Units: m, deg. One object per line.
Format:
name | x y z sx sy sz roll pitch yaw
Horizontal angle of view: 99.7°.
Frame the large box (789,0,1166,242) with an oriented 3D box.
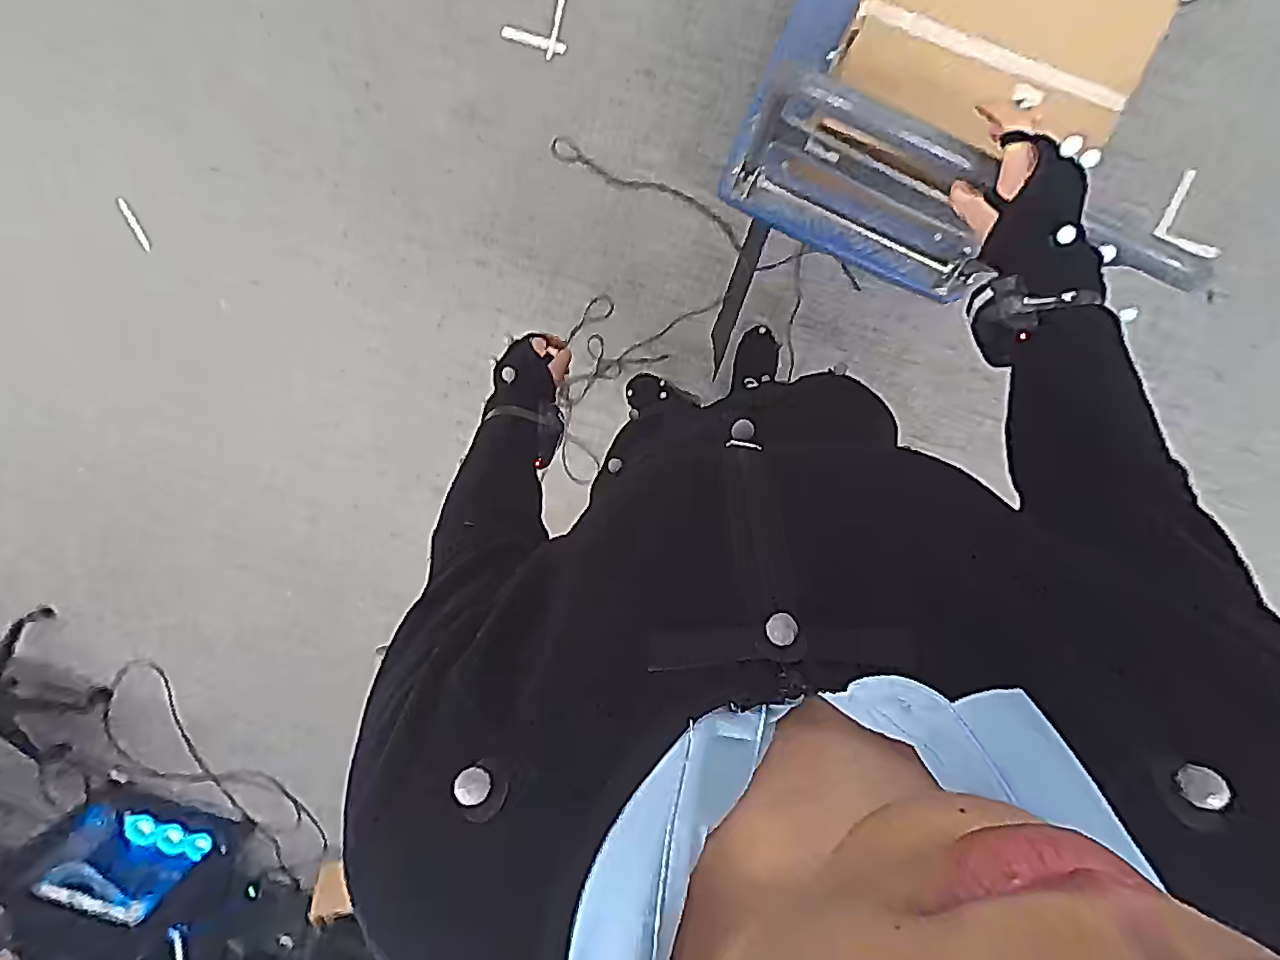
large box | 0.530 -0.660 0.953 0.408 0.320 0.320 20 108 -1
